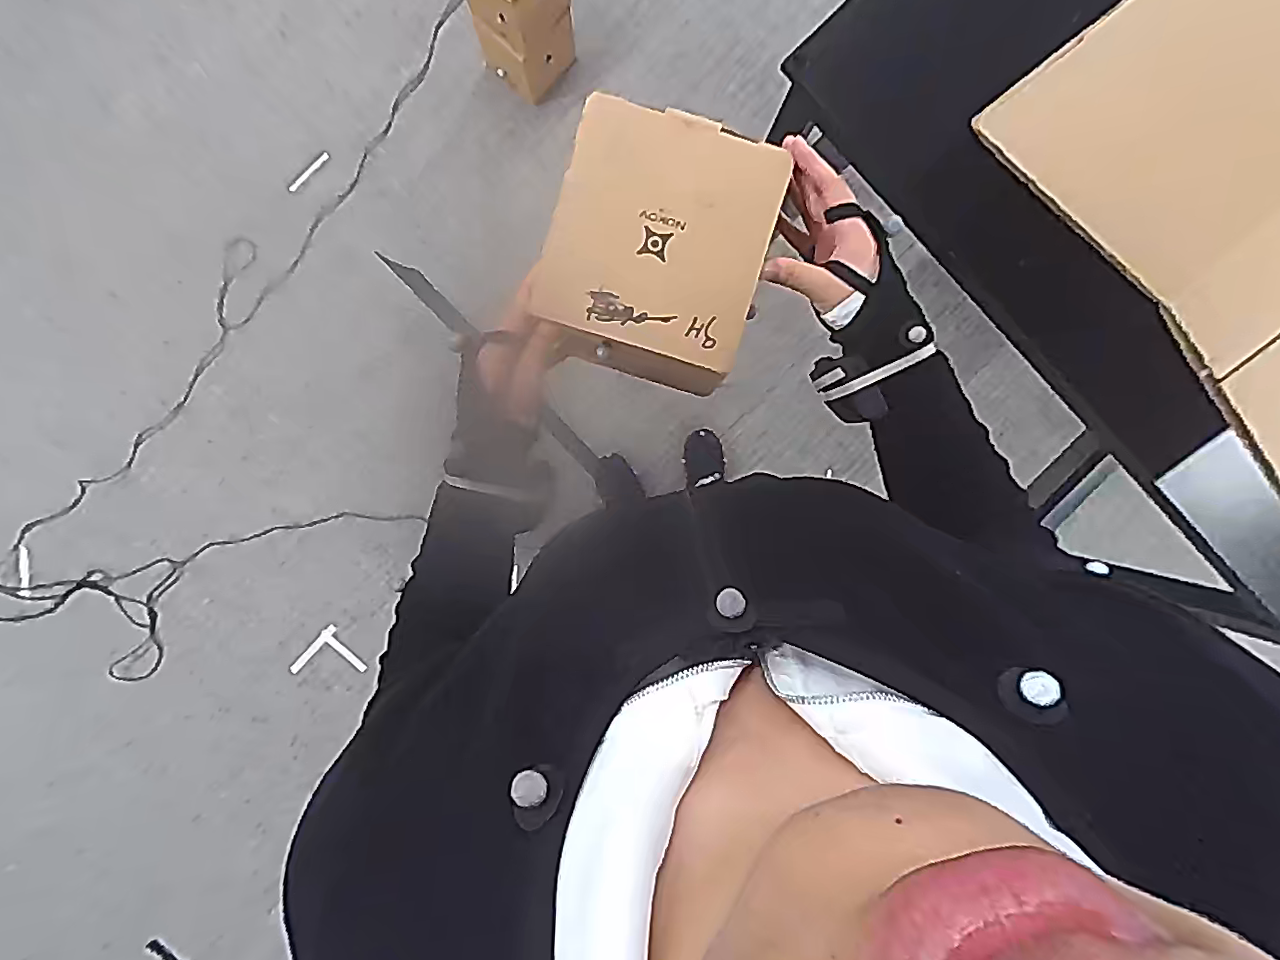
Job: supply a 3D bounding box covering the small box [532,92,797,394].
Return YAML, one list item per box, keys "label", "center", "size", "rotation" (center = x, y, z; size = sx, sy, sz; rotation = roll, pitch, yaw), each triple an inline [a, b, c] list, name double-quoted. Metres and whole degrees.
- label: "small box"
  center: [0.019, -0.192, 0.493]
  size: [0.168, 0.176, 0.179]
  rotation: [18, 92, 1]

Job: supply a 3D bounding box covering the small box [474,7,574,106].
- label: "small box"
  center: [-0.278, -1.097, 1.346]
  size: [0.168, 0.176, 0.179]
  rotation: [42, 92, -3]

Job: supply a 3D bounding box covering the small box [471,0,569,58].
- label: "small box"
  center: [-0.269, -1.094, 1.184]
  size: [0.168, 0.176, 0.179]
  rotation: [39, 90, -4]
